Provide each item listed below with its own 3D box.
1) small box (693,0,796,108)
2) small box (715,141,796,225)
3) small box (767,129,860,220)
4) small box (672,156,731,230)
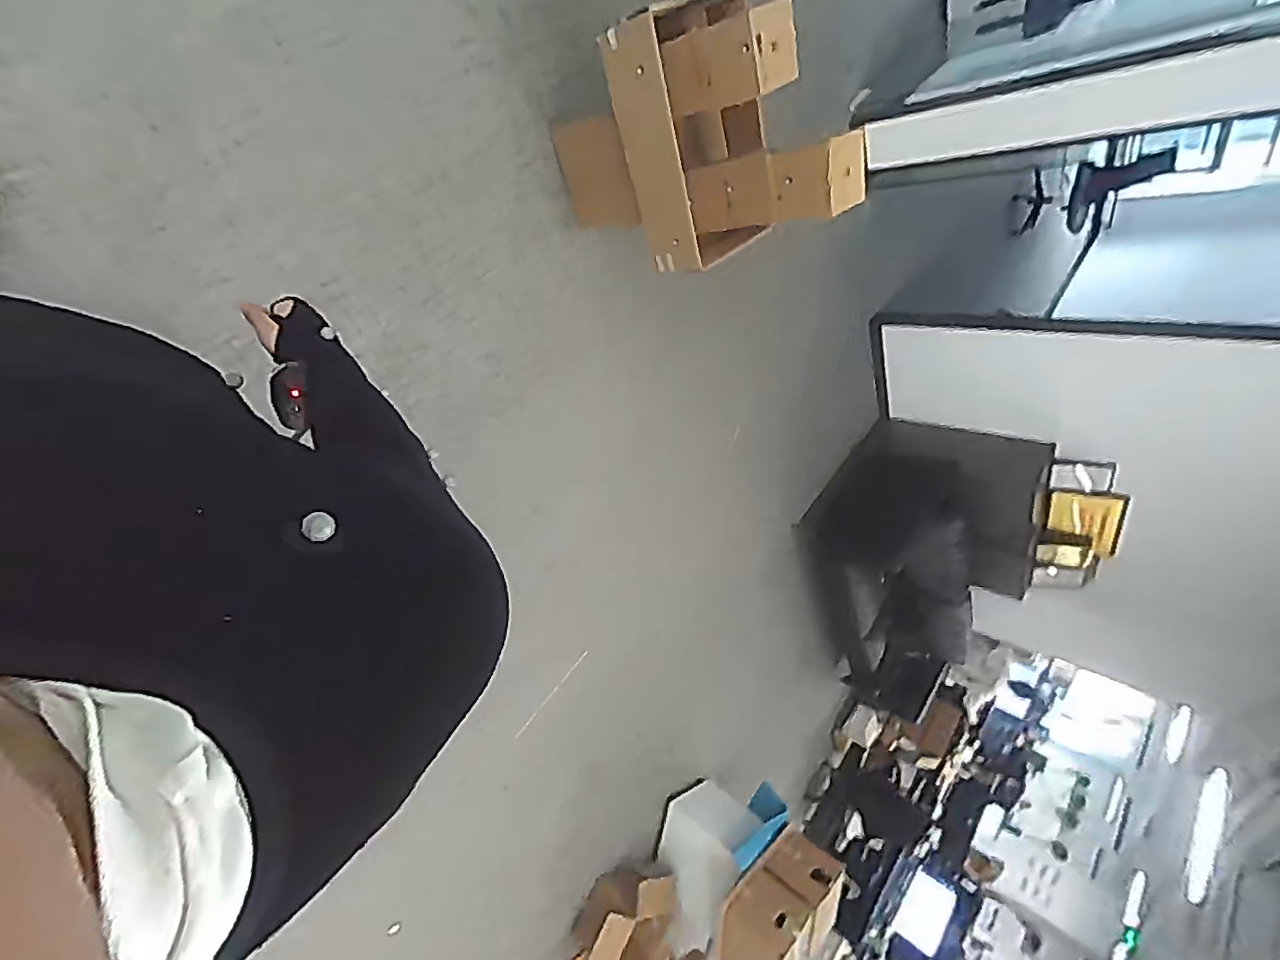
[{"bbox_3d":[0.258,-1.051,1.335,0.179,0.176,0.168,-43,130,-27],"label":"small box"},{"bbox_3d":[0.332,-0.820,1.497,0.179,0.176,0.168,-38,128,-31],"label":"small box"},{"bbox_3d":[0.447,-0.781,1.390,0.179,0.176,0.168,-37,127,-31],"label":"small box"},{"bbox_3d":[0.220,-0.856,1.610,0.179,0.176,0.168,-37,127,-31],"label":"small box"}]
